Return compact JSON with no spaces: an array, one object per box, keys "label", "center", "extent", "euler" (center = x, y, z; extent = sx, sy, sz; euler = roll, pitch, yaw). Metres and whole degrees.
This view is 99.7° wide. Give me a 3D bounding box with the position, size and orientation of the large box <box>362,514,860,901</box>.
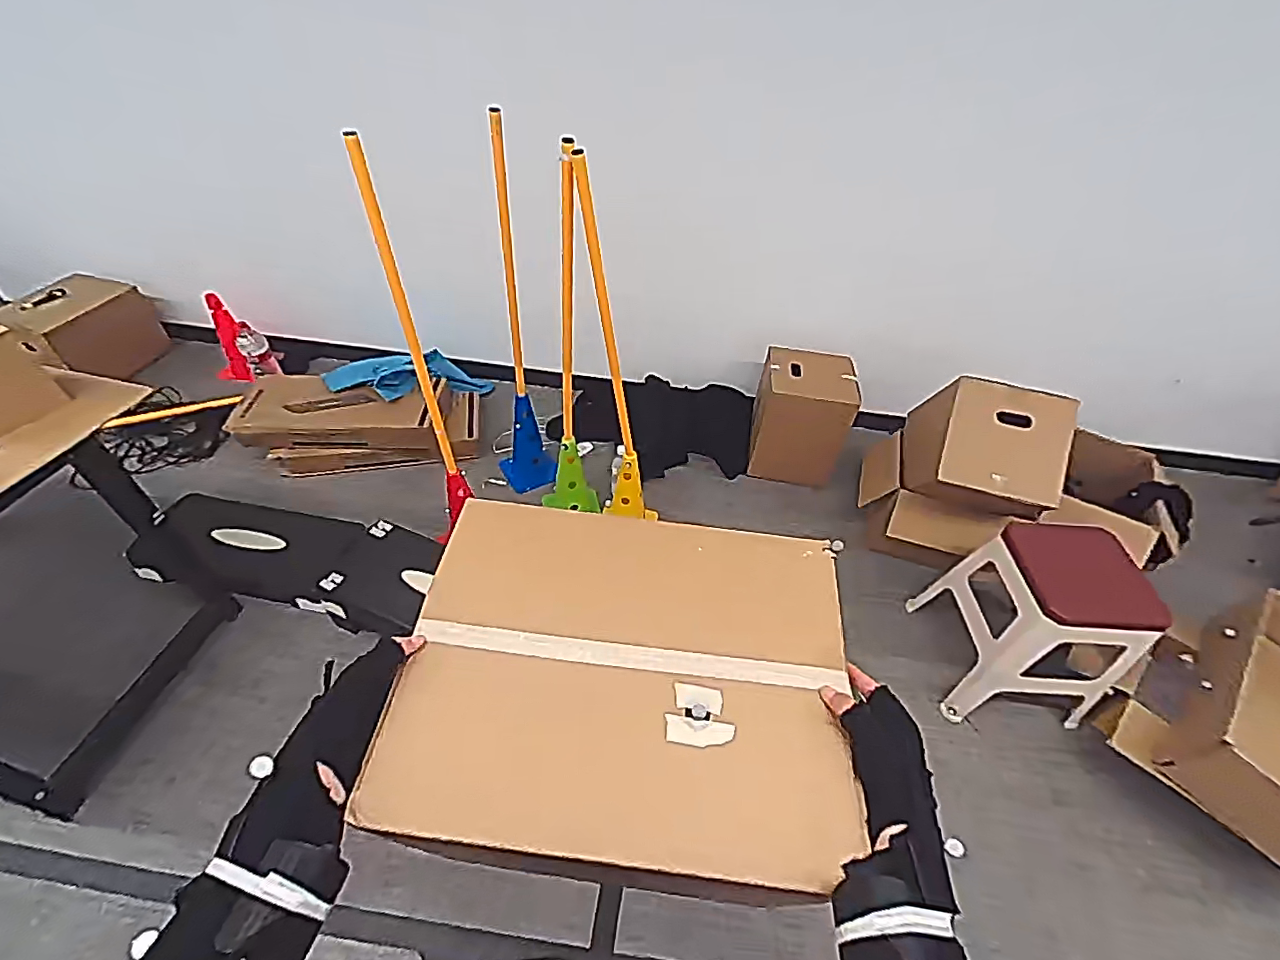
[{"label":"large box","center":[-0.019,0.269,0.628],"extent":[0.408,0.320,0.320],"euler":[7,52,2]}]
